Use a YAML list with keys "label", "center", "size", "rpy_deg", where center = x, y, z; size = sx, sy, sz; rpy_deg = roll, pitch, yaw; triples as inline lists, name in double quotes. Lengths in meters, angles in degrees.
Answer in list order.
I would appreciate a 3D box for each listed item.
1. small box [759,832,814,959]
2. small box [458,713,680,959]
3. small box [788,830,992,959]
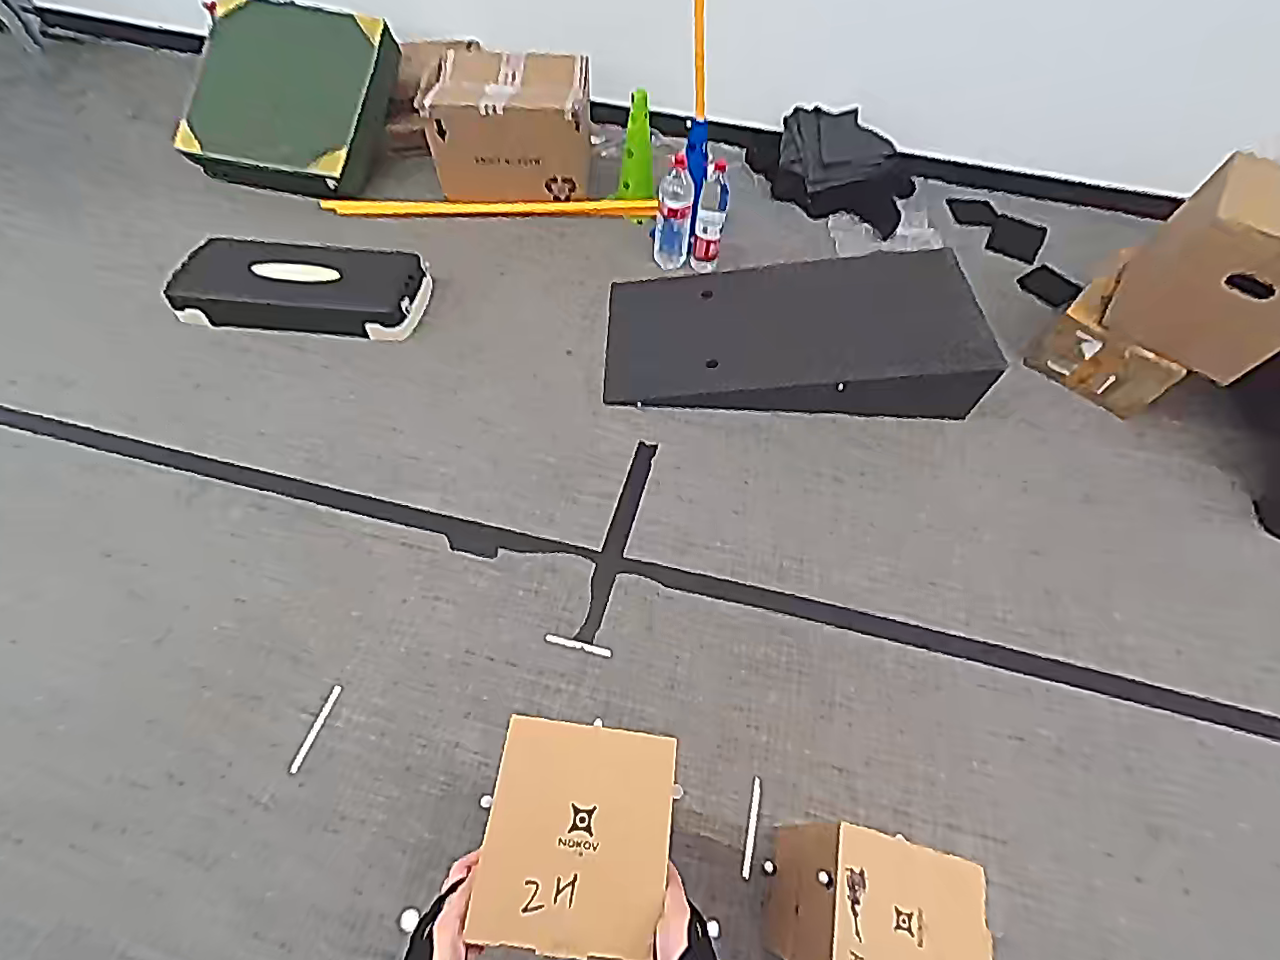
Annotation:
- label: "small box"
  center: [0.295, 0.648, 0.810]
  size: [0.179, 0.176, 0.168]
  rpy_deg: [16, 57, 8]
- label: "small box"
  center: [-0.063, 0.346, 0.536]
  size: [0.168, 0.176, 0.179]
  rpy_deg: [10, 60, -2]
- label: "small box"
  center: [0.303, 0.556, 0.675]
  size: [0.179, 0.176, 0.168]
  rpy_deg: [16, 56, 6]
